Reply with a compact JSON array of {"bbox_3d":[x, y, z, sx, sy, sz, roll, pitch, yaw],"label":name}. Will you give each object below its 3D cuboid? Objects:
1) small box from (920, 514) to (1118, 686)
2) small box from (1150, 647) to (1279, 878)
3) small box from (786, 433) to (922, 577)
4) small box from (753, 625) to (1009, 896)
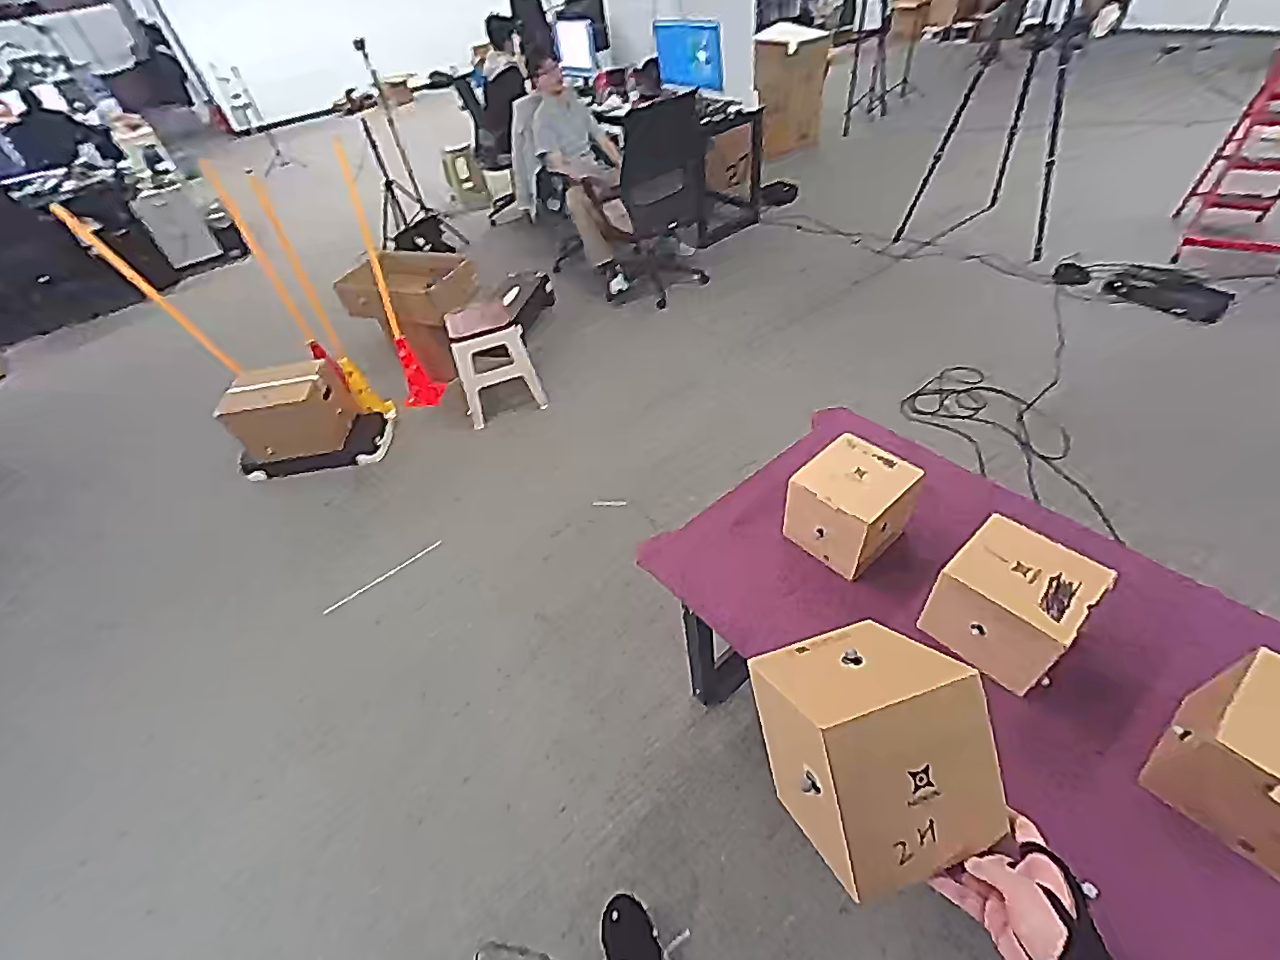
[{"bbox_3d":[0.579,0.194,0.849,0.168,0.176,0.179,-35,49,-23],"label":"small box"},{"bbox_3d":[0.783,0.350,0.659,0.179,0.176,0.168,-34,50,-22],"label":"small box"},{"bbox_3d":[0.396,0.049,1.024,0.179,0.176,0.168,-35,51,-22],"label":"small box"},{"bbox_3d":[0.235,0.266,0.566,0.168,0.179,0.176,-14,5,-10],"label":"small box"}]
